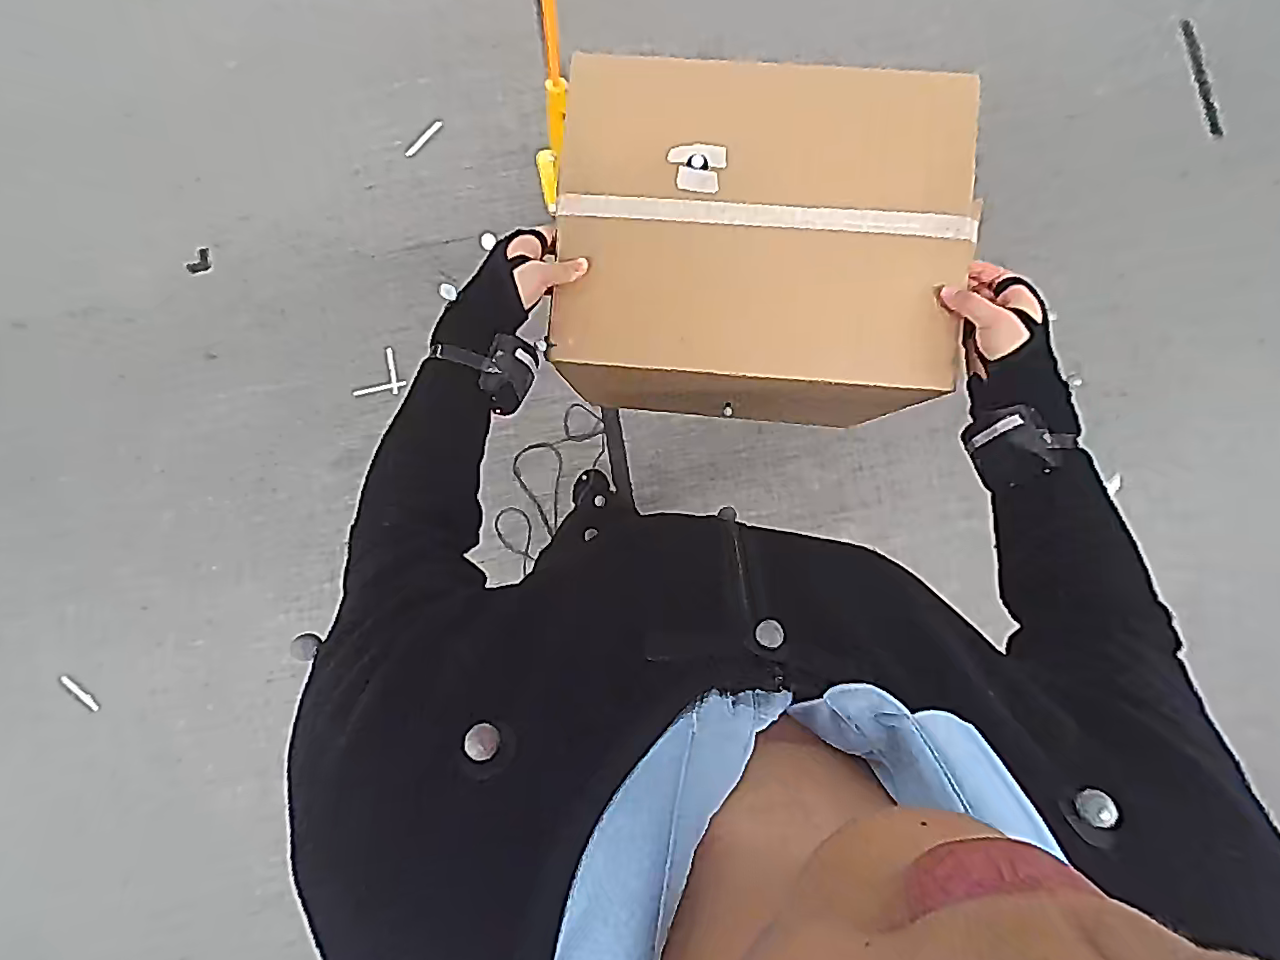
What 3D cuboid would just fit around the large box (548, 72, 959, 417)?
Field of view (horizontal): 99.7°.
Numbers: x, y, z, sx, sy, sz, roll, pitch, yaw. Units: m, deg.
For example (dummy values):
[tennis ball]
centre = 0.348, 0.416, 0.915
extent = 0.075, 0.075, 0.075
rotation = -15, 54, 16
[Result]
[large box]
centre = 0.123, -0.258, 0.694
extent = 0.408, 0.320, 0.320
rotation = 4, 88, 4
